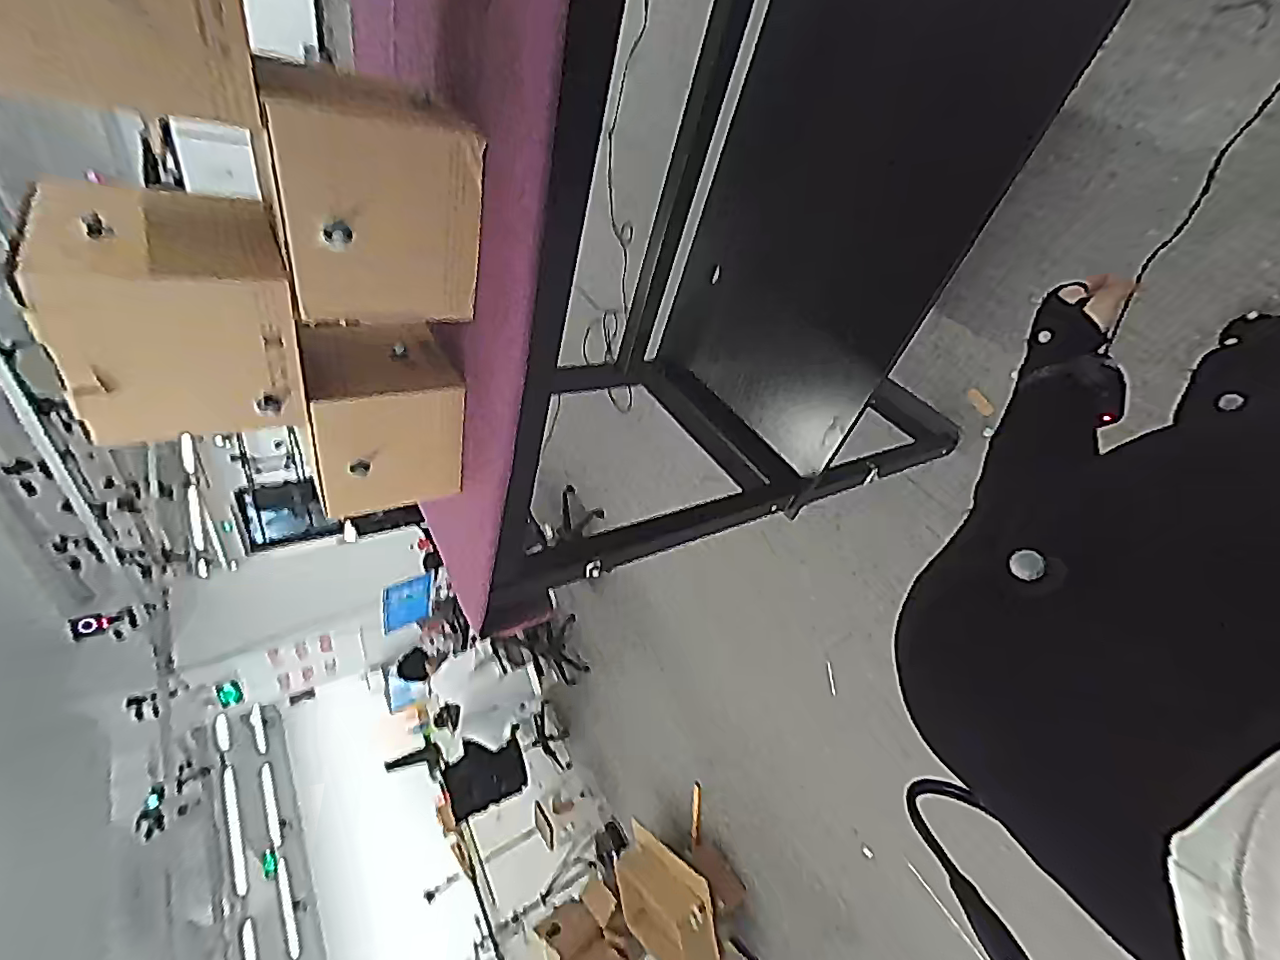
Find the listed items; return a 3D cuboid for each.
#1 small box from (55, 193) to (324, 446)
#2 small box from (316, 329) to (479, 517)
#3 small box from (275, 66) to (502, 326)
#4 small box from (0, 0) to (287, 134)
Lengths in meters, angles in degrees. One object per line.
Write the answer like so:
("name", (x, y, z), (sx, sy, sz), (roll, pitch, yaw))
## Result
("small box", (-0.421, -0.160, 0.535), (0.179, 0.176, 0.168), (54, 140, 33))
("small box", (-0.320, -0.081, 0.710), (0.168, 0.176, 0.179), (50, 139, 34))
("small box", (-0.247, -0.272, 0.537), (0.168, 0.176, 0.179), (52, 139, 33))
("small box", (-0.351, -0.355, 0.364), (0.179, 0.176, 0.168), (52, 139, 34))
